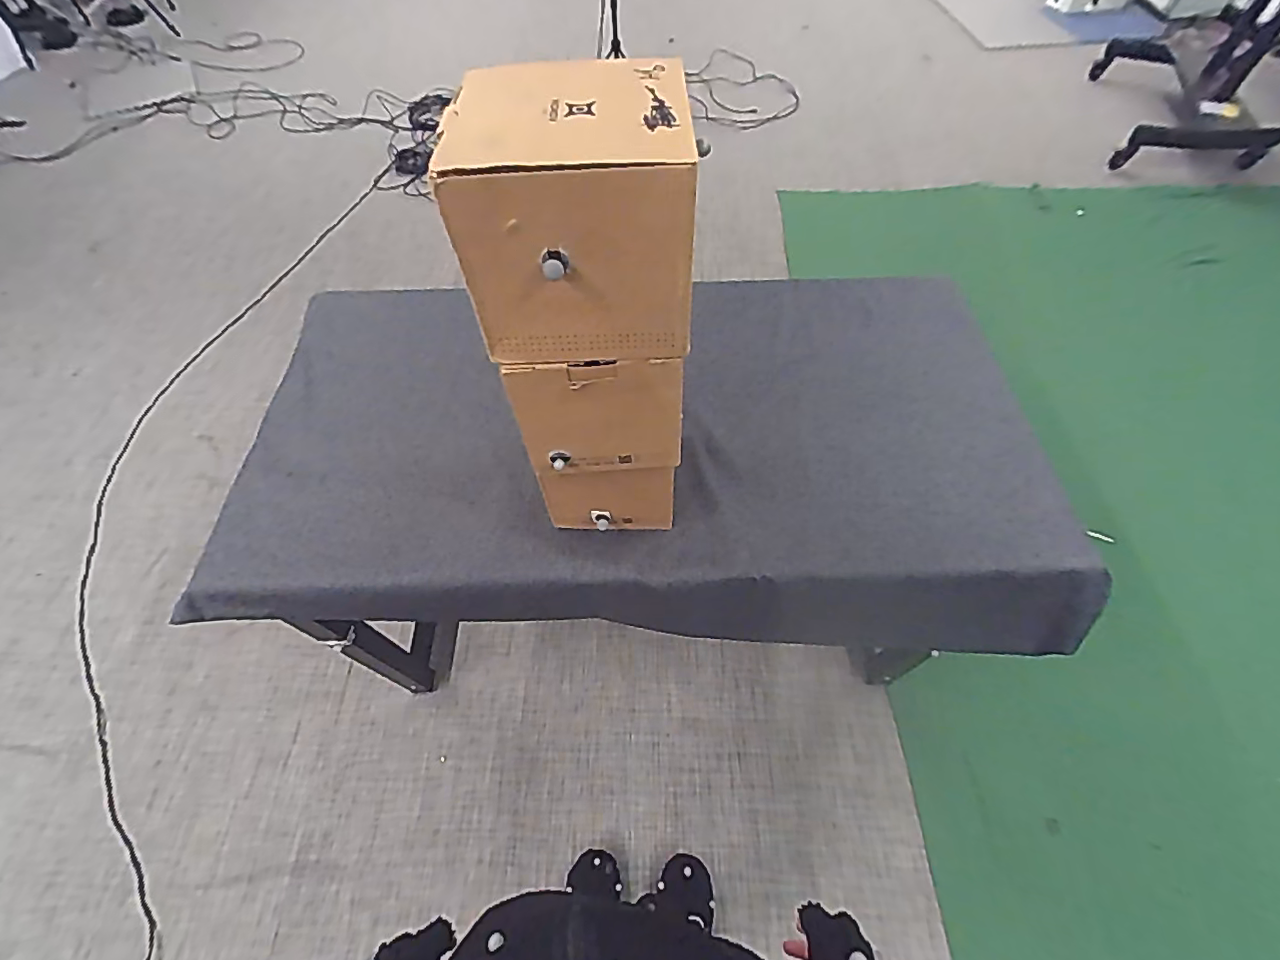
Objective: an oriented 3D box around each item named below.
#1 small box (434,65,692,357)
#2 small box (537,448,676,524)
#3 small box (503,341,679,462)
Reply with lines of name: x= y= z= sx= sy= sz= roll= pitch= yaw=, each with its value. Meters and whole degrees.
small box: x=-0.051 y=-0.223 z=0.466 sx=0.179 sy=0.176 sz=0.168 roll=-5 pitch=55 yaw=-1
small box: x=-0.036 y=-0.055 z=0.744 sx=0.168 sy=0.176 sz=0.179 roll=-2 pitch=58 yaw=3
small box: x=-0.048 y=-0.133 z=0.600 sx=0.168 sy=0.176 sz=0.179 roll=-7 pitch=58 yaw=-1
